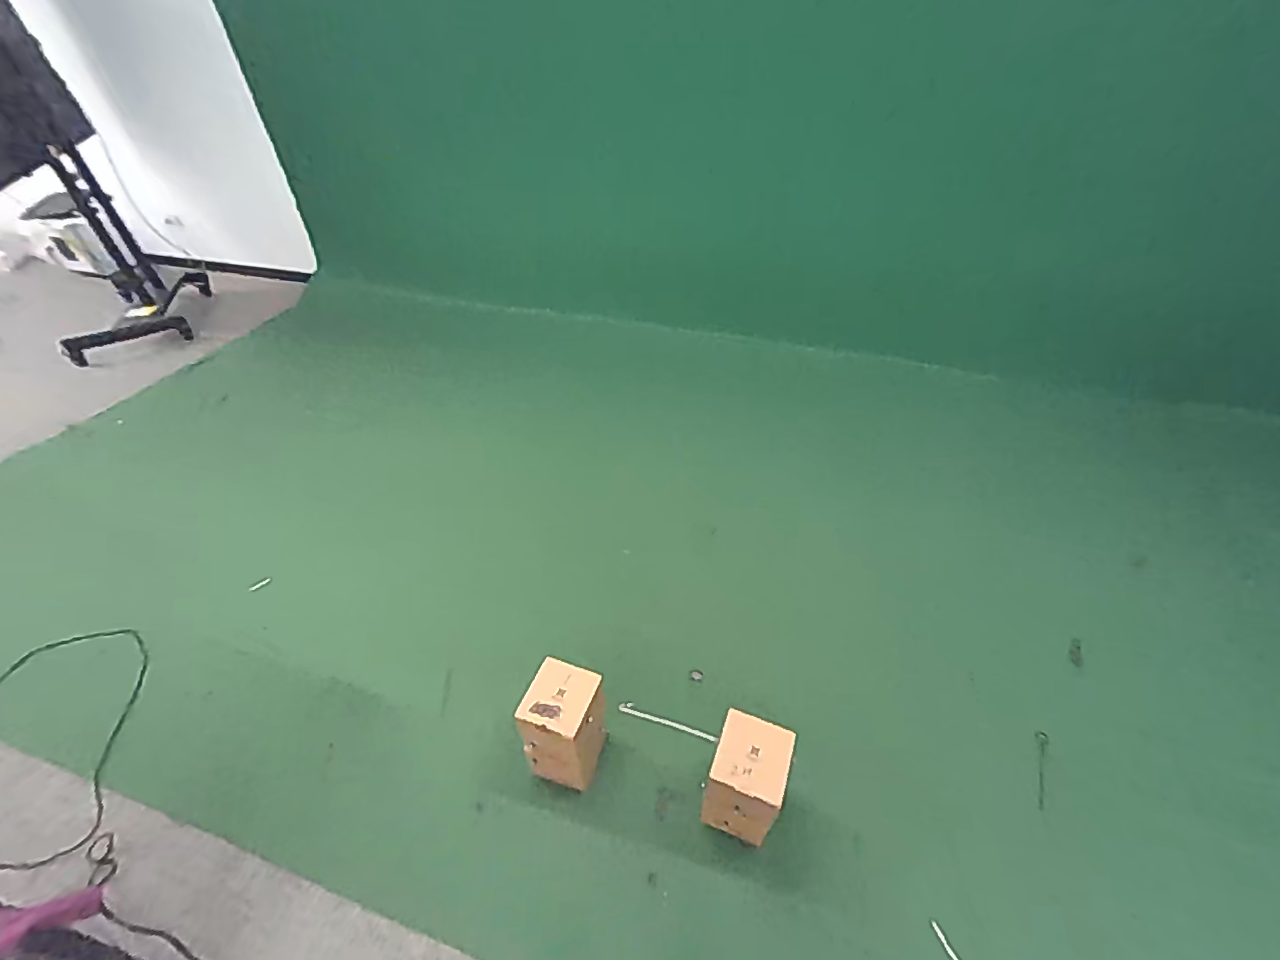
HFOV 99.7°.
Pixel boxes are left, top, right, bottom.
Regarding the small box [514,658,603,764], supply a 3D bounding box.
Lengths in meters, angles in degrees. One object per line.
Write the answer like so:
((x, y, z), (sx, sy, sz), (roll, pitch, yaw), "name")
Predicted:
((-0.202, 0.604, 1.411), (0.168, 0.176, 0.179), (14, 43, 16), "small box")

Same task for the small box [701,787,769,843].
((0.263, 0.811, 1.420), (0.168, 0.176, 0.179), (14, 46, 16), "small box")

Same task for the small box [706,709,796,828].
((0.263, 0.695, 1.303), (0.168, 0.176, 0.179), (16, 46, 17), "small box")
